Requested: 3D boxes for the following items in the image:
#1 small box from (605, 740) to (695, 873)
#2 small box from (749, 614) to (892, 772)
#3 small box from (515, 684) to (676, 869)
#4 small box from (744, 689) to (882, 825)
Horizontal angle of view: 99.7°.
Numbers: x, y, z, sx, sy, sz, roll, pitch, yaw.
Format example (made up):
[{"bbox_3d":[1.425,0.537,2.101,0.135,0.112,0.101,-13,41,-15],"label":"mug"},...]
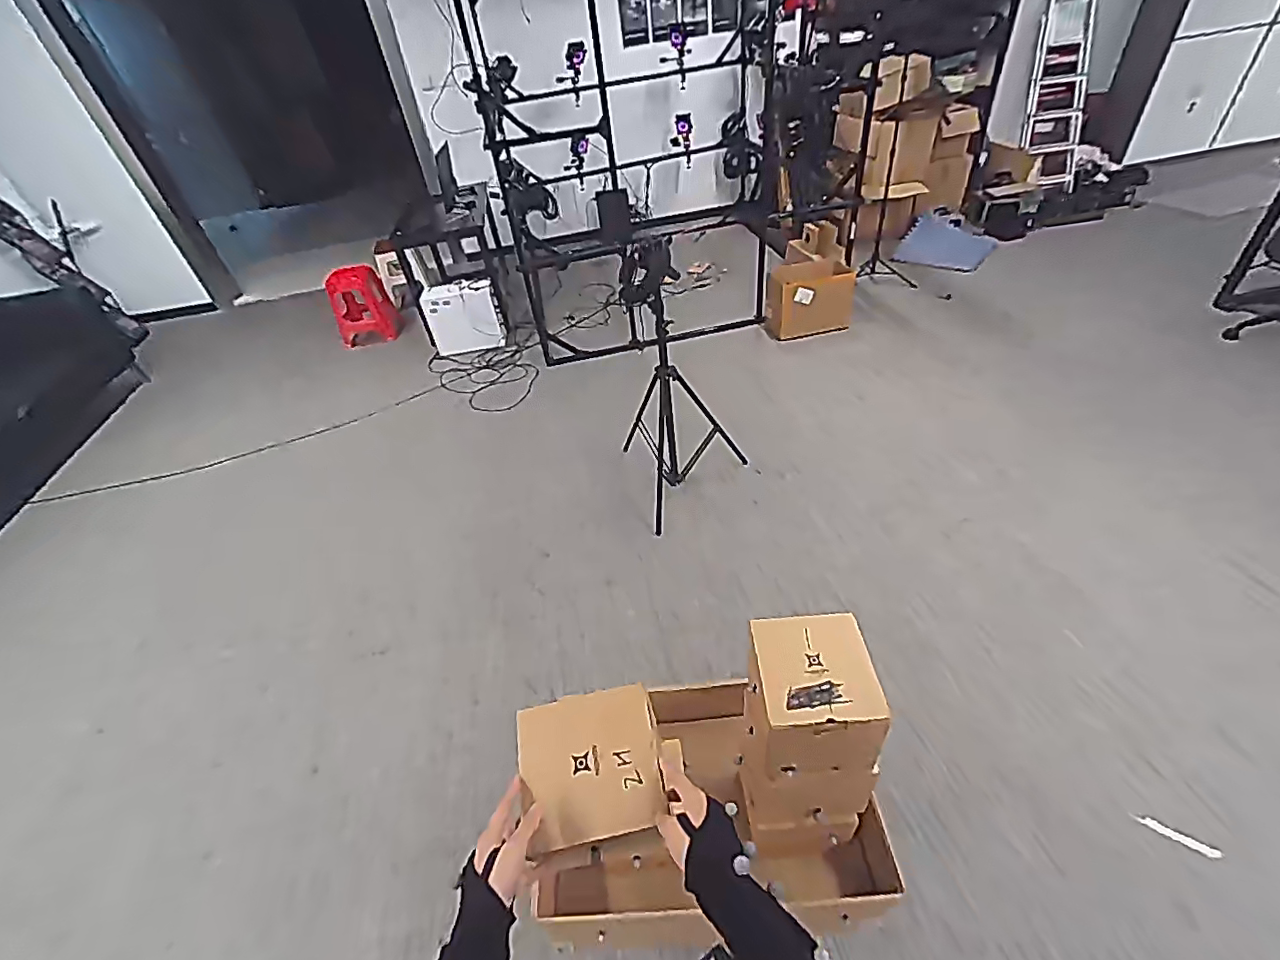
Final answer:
[{"bbox_3d":[0.012,0.631,1.039,0.168,0.176,0.179,-7,39,1],"label":"small box"},{"bbox_3d":[0.264,0.332,0.833,0.168,0.176,0.179,-5,40,4],"label":"small box"},{"bbox_3d":[-0.056,0.396,0.717,0.179,0.176,0.168,-12,50,-2],"label":"small box"},{"bbox_3d":[0.283,0.467,0.927,0.179,0.176,0.168,-7,40,0],"label":"small box"}]
